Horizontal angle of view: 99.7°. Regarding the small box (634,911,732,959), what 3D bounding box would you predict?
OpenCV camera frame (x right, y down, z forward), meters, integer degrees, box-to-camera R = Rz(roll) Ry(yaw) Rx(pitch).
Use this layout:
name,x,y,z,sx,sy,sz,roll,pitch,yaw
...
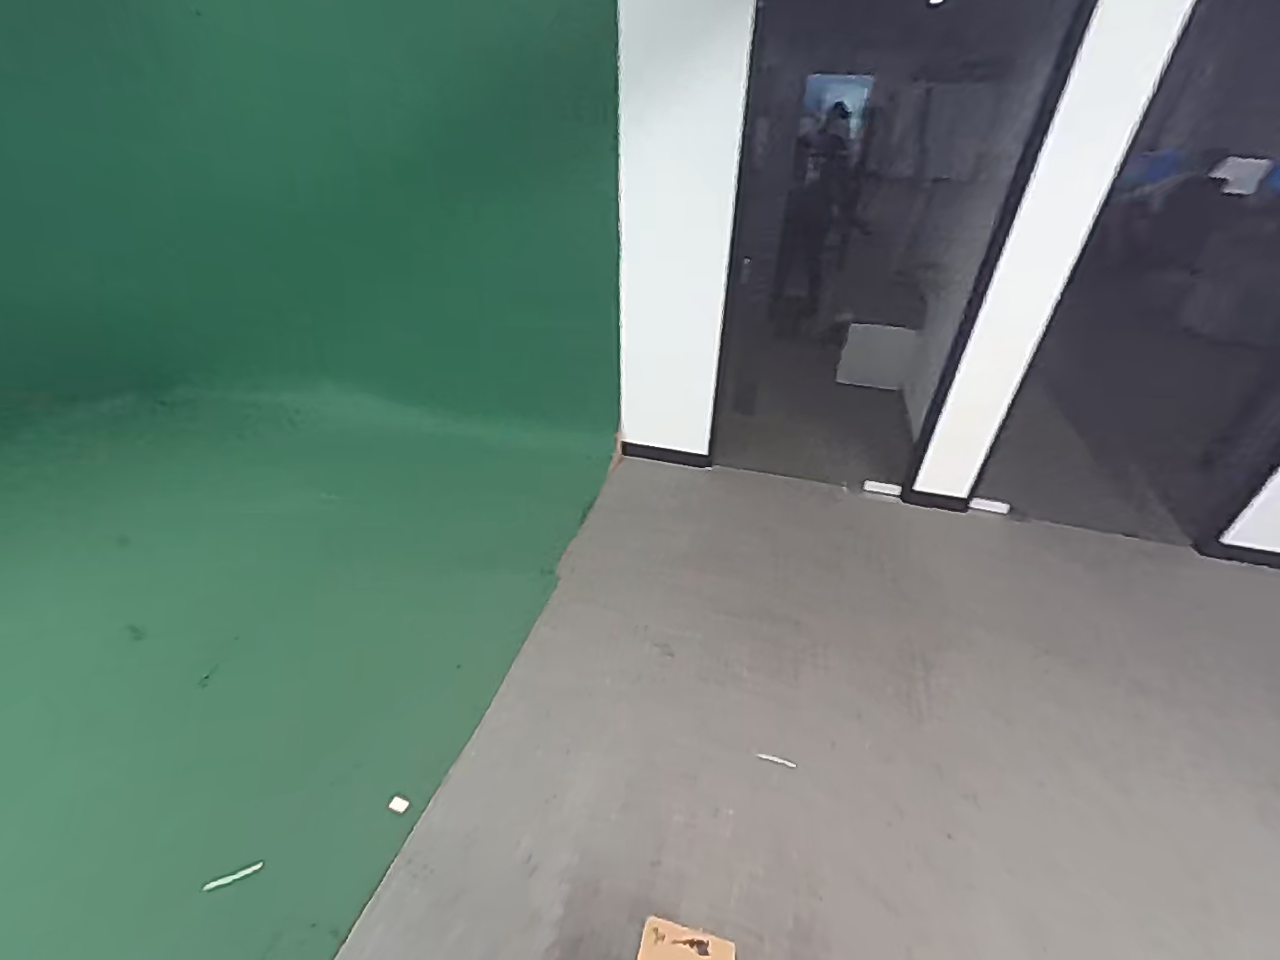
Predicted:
name,x,y,z,sx,sy,sz,roll,pitch,yaw
small box,0.064,0.916,0.954,0.168,0.176,0.179,10,37,11
